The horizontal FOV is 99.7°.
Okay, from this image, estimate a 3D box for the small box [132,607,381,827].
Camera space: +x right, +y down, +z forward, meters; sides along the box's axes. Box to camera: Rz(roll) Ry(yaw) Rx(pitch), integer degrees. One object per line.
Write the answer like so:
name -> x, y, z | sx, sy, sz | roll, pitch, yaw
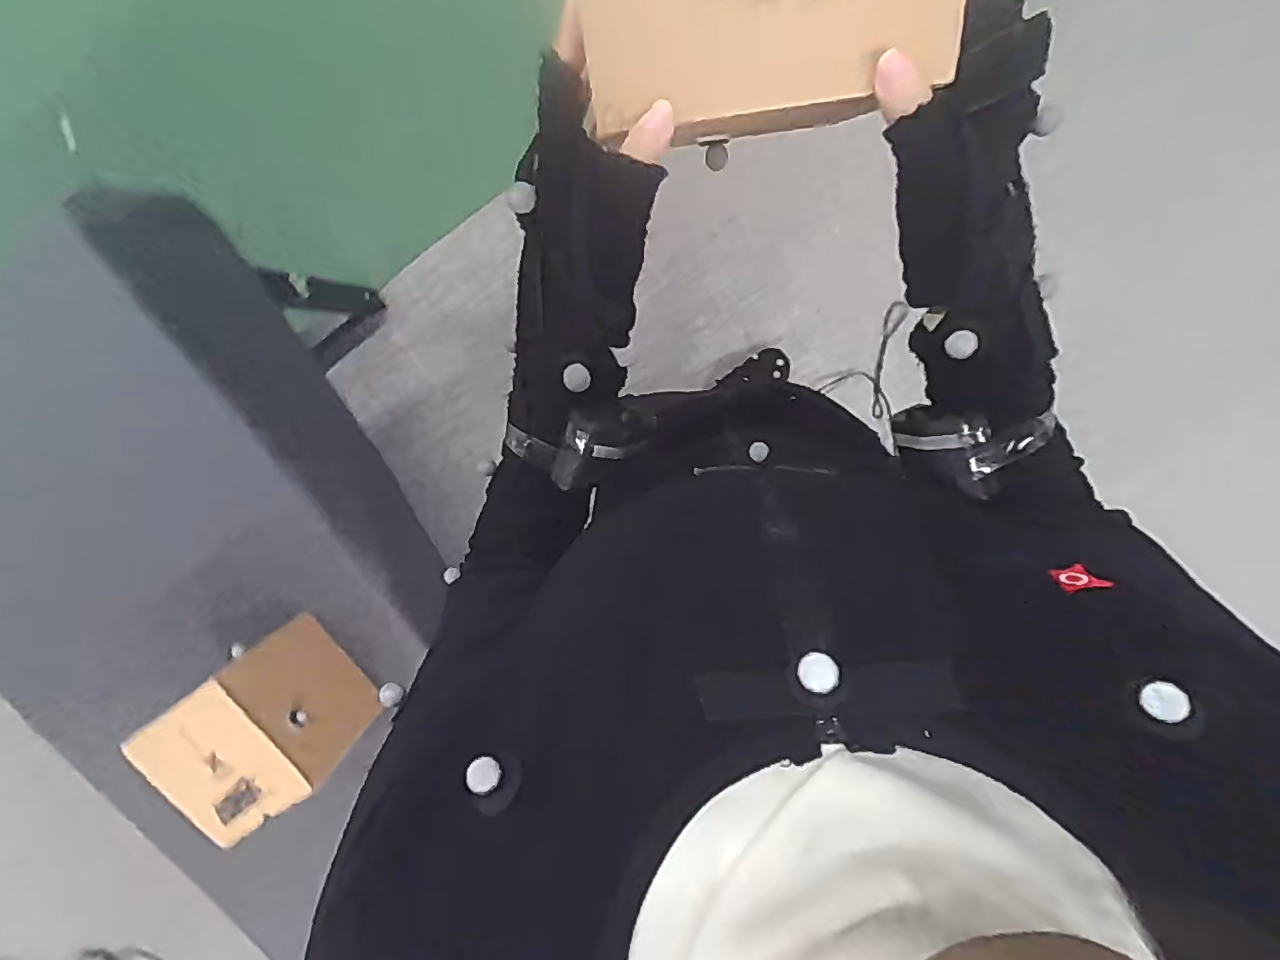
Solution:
small box -> -0.494, 0.307, 0.728 | 0.168, 0.176, 0.179 | -34, 99, 11
